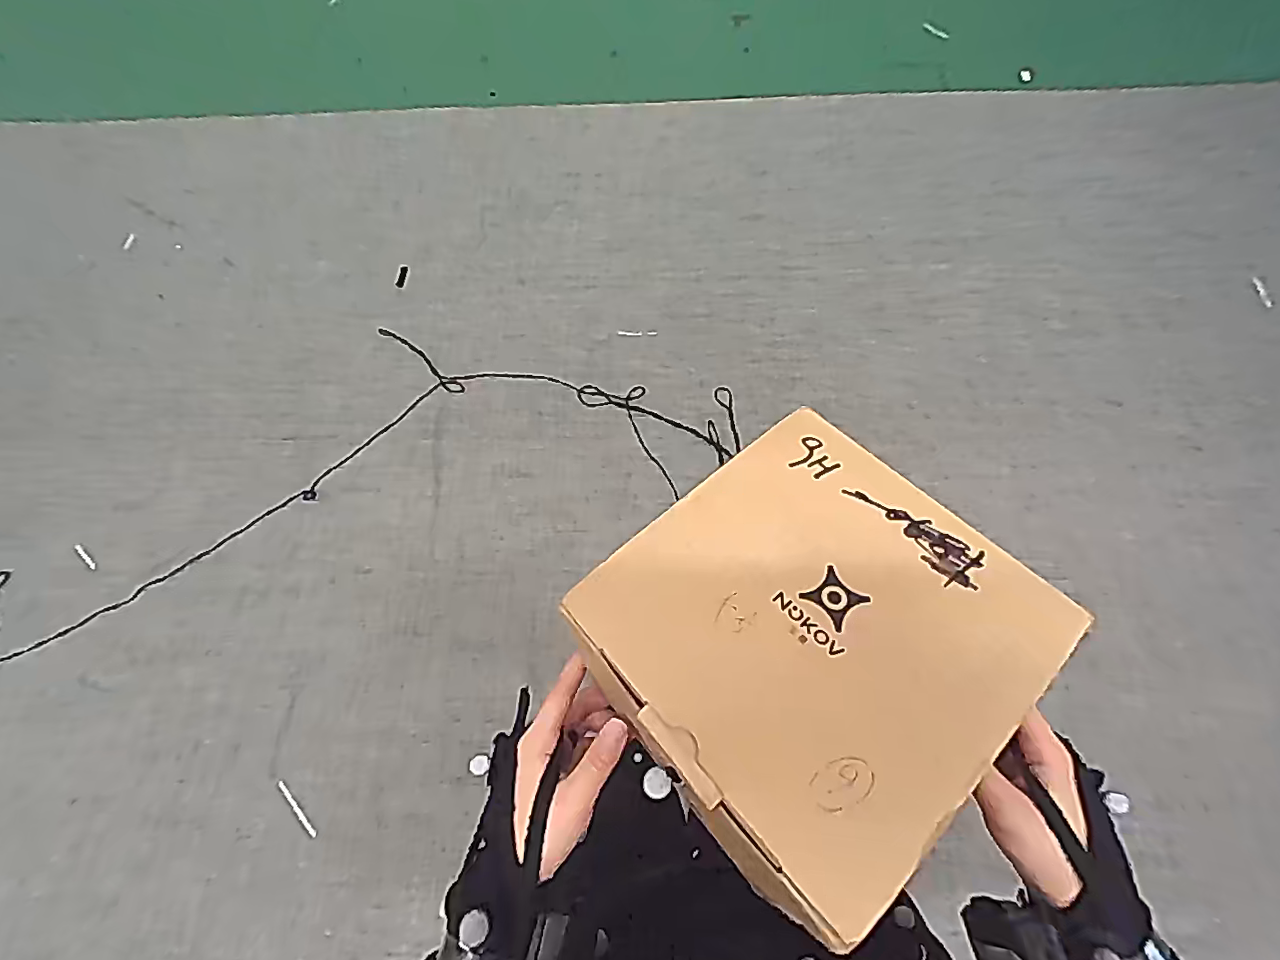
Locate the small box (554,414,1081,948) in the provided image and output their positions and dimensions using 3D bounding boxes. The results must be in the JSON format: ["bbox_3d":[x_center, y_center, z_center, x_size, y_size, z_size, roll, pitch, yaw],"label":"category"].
[{"bbox_3d":[0.080,0.104,0.309,0.179,0.176,0.168,-37,63,-19],"label":"small box"}]
